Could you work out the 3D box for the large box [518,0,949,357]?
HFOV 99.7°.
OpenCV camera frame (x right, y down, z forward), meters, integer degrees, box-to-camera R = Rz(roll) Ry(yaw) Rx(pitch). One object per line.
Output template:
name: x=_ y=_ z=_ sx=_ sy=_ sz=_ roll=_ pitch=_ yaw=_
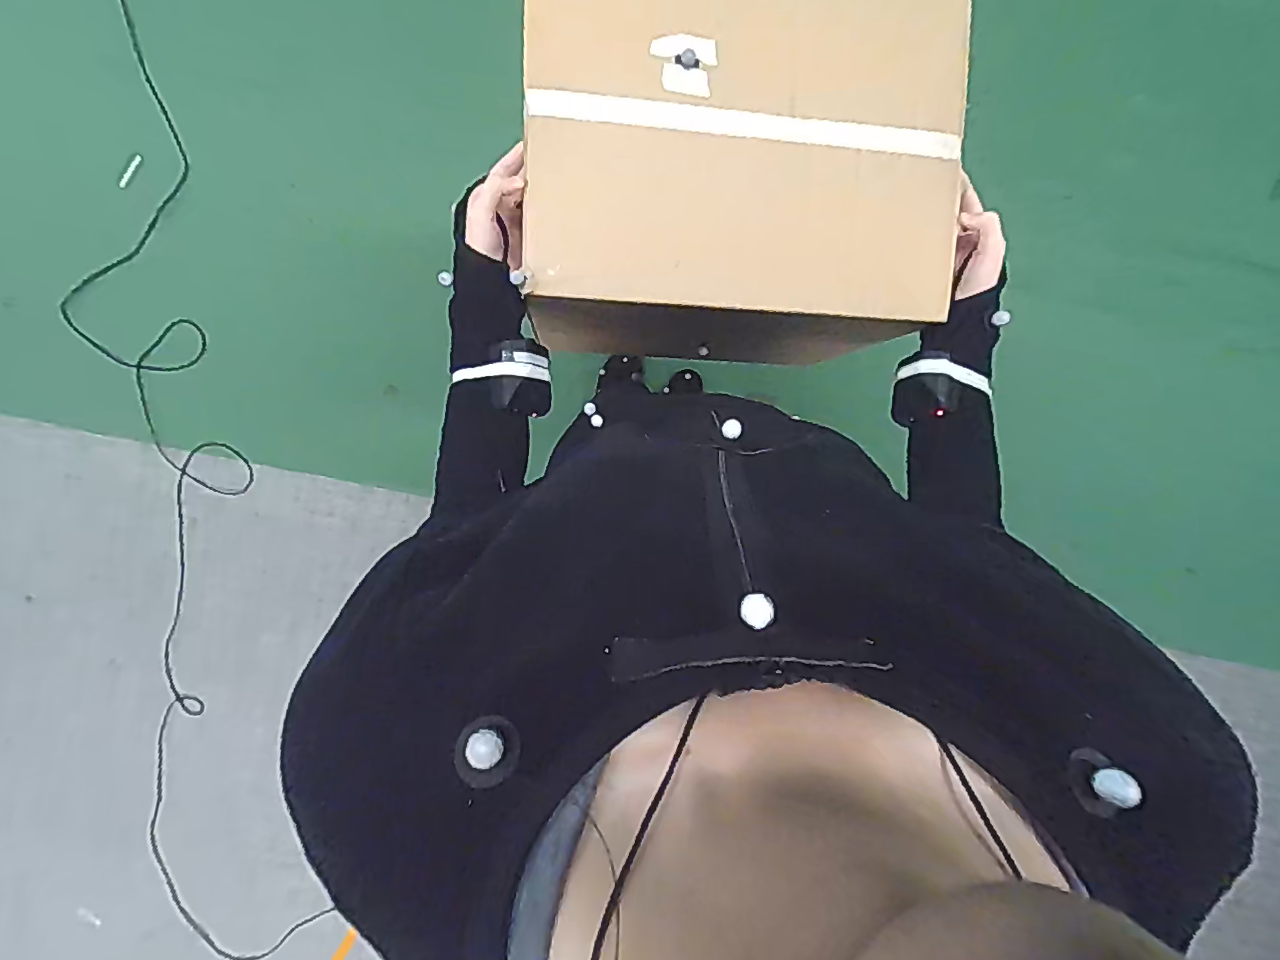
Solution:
large box: x=0.076 y=-0.325 z=0.645 sx=0.408 sy=0.320 sz=0.320 roll=1 pitch=94 yaw=-7
